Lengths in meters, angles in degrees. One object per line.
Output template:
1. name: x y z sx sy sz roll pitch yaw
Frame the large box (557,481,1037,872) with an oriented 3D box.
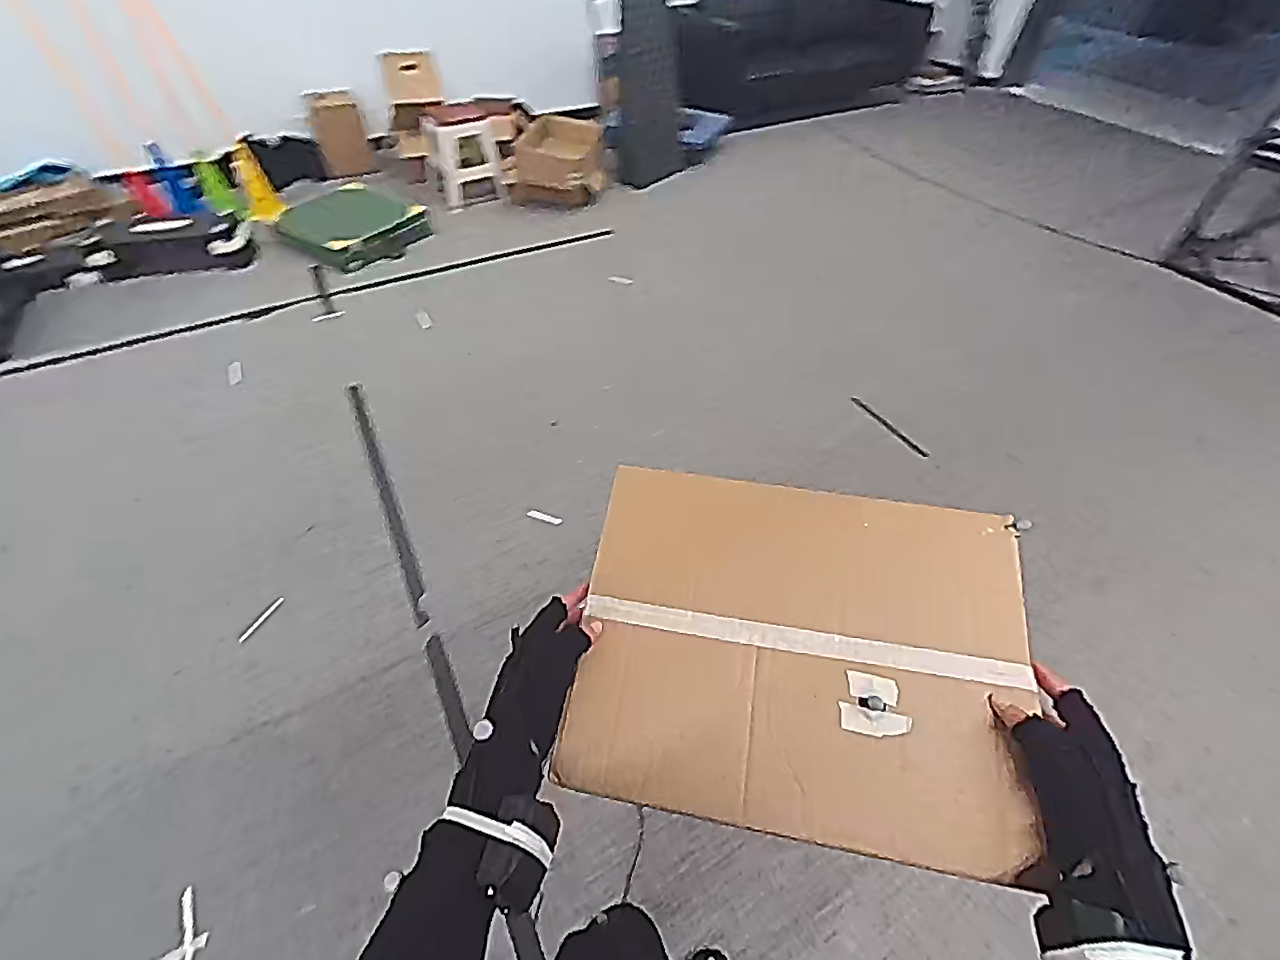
1. large box: 0.150 0.222 0.648 0.408 0.320 0.320 7 65 7
